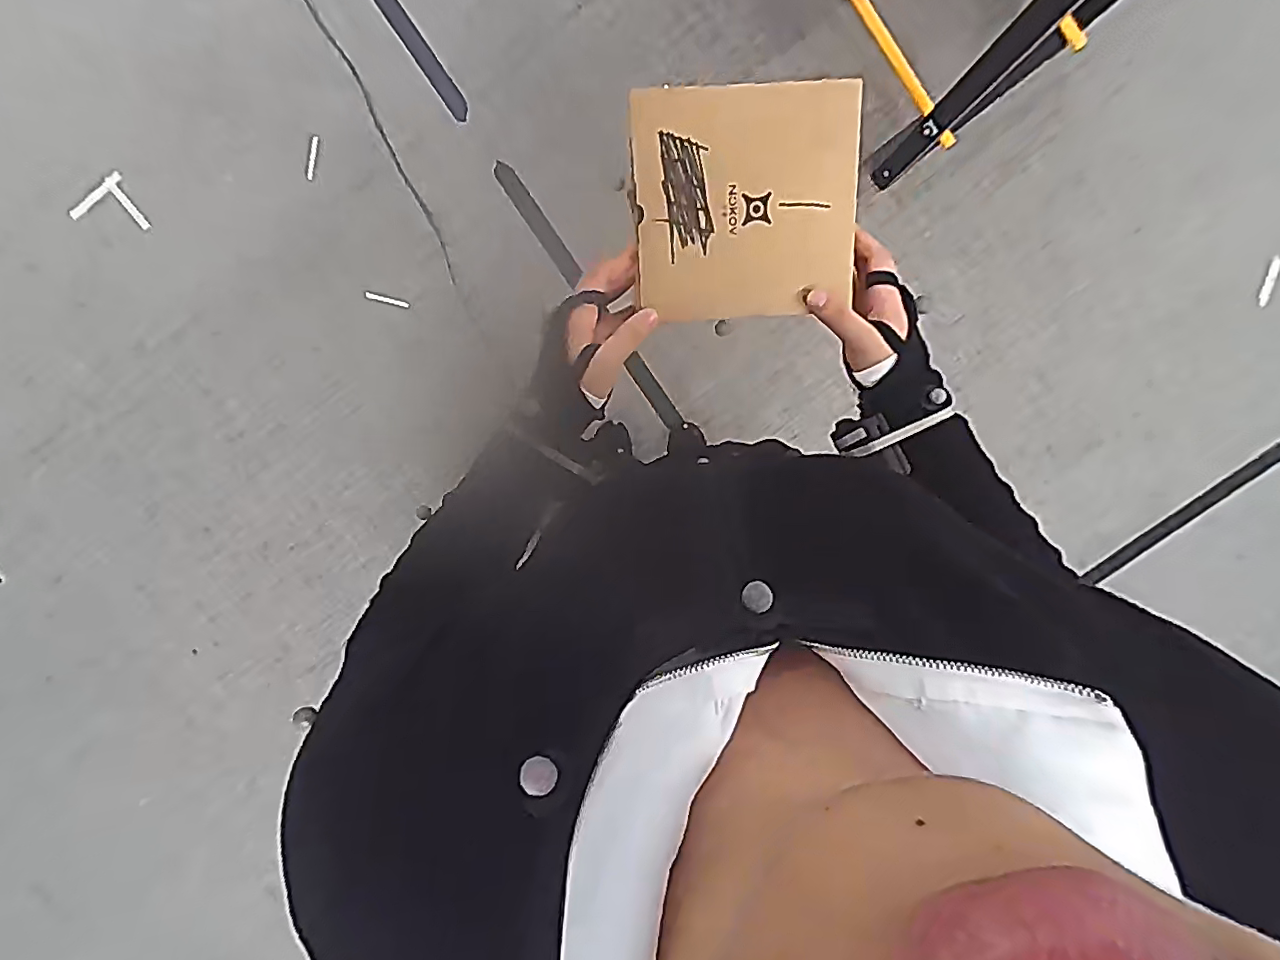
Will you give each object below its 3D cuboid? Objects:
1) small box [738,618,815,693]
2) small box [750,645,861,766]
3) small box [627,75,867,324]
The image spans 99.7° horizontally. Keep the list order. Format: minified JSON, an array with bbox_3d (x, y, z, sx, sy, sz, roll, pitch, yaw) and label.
[{"bbox_3d":[0.380,0.508,1.461,0.179,0.176,0.168,-37,95,4],"label":"small box"},{"bbox_3d":[0.390,0.533,1.300,0.168,0.176,0.179,-35,94,3],"label":"small box"},{"bbox_3d":[0.079,-0.230,0.486,0.179,0.176,0.168,-5,107,-2],"label":"small box"}]
